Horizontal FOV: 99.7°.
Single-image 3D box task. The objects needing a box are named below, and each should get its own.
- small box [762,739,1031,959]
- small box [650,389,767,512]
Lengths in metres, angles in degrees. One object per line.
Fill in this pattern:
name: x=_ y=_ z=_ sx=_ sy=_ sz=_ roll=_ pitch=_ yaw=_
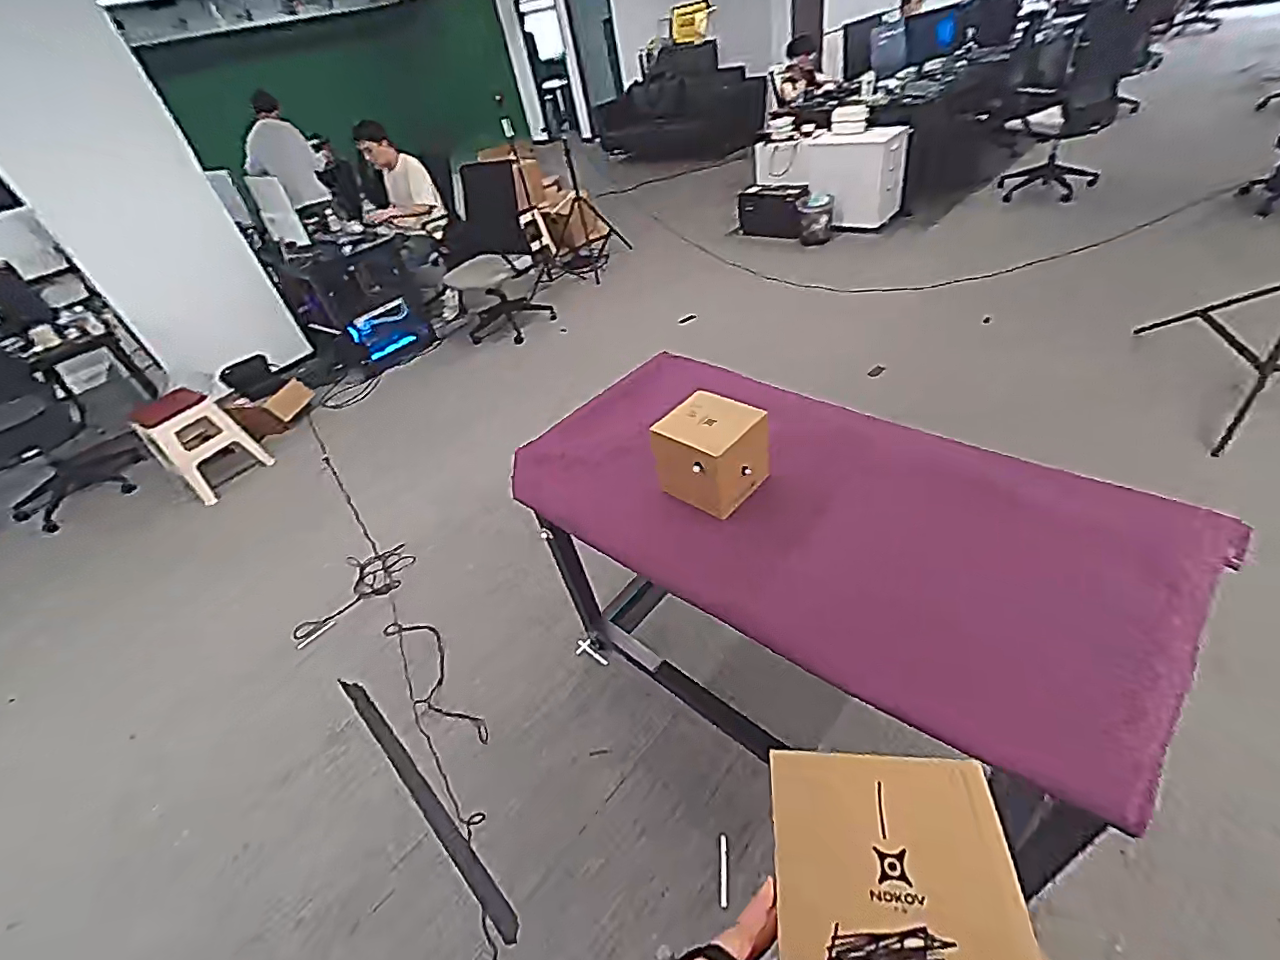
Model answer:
small box: x=0.188 y=0.338 z=0.437 sx=0.168 sy=0.176 sz=0.179 roll=-2 pitch=40 yaw=13
small box: x=0.148 y=-0.058 z=1.117 sx=0.179 sy=0.176 sz=0.168 roll=27 pitch=54 yaw=37
